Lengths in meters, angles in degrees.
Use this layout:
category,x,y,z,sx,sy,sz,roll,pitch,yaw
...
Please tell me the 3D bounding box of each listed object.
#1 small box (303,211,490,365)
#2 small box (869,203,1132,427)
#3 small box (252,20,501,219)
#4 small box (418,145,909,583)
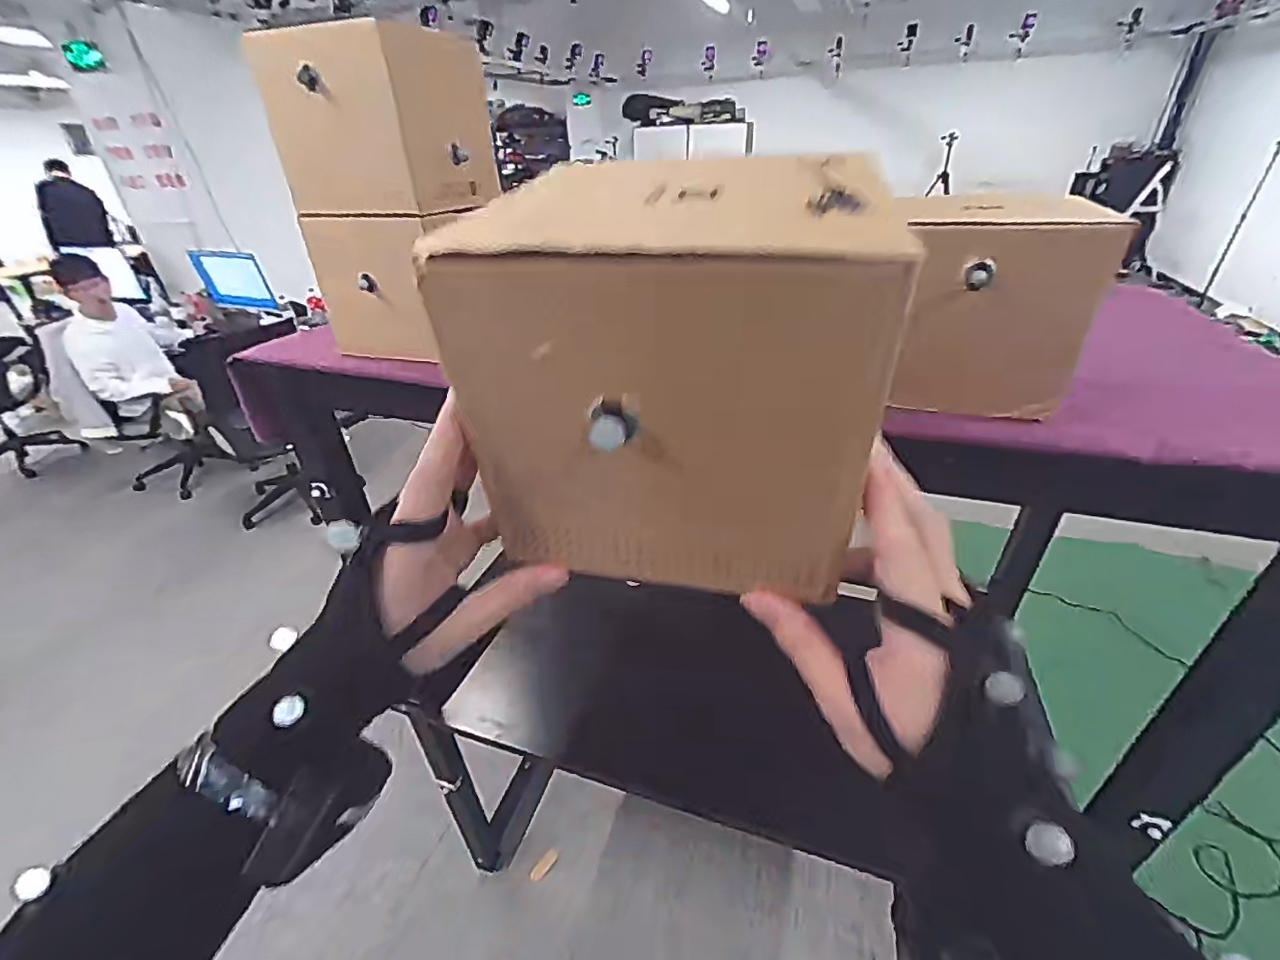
category,x,y,z,sx,sy,sz,roll,pitch,yaw
small box,-0.283,-0.257,0.708,0.179,0.176,0.168,7,32,16
small box,0.309,-0.164,0.521,0.179,0.176,0.168,10,35,19
small box,-0.285,-0.399,0.624,0.179,0.176,0.168,9,33,17
small box,0.024,-0.063,0.291,0.179,0.176,0.168,5,42,13
